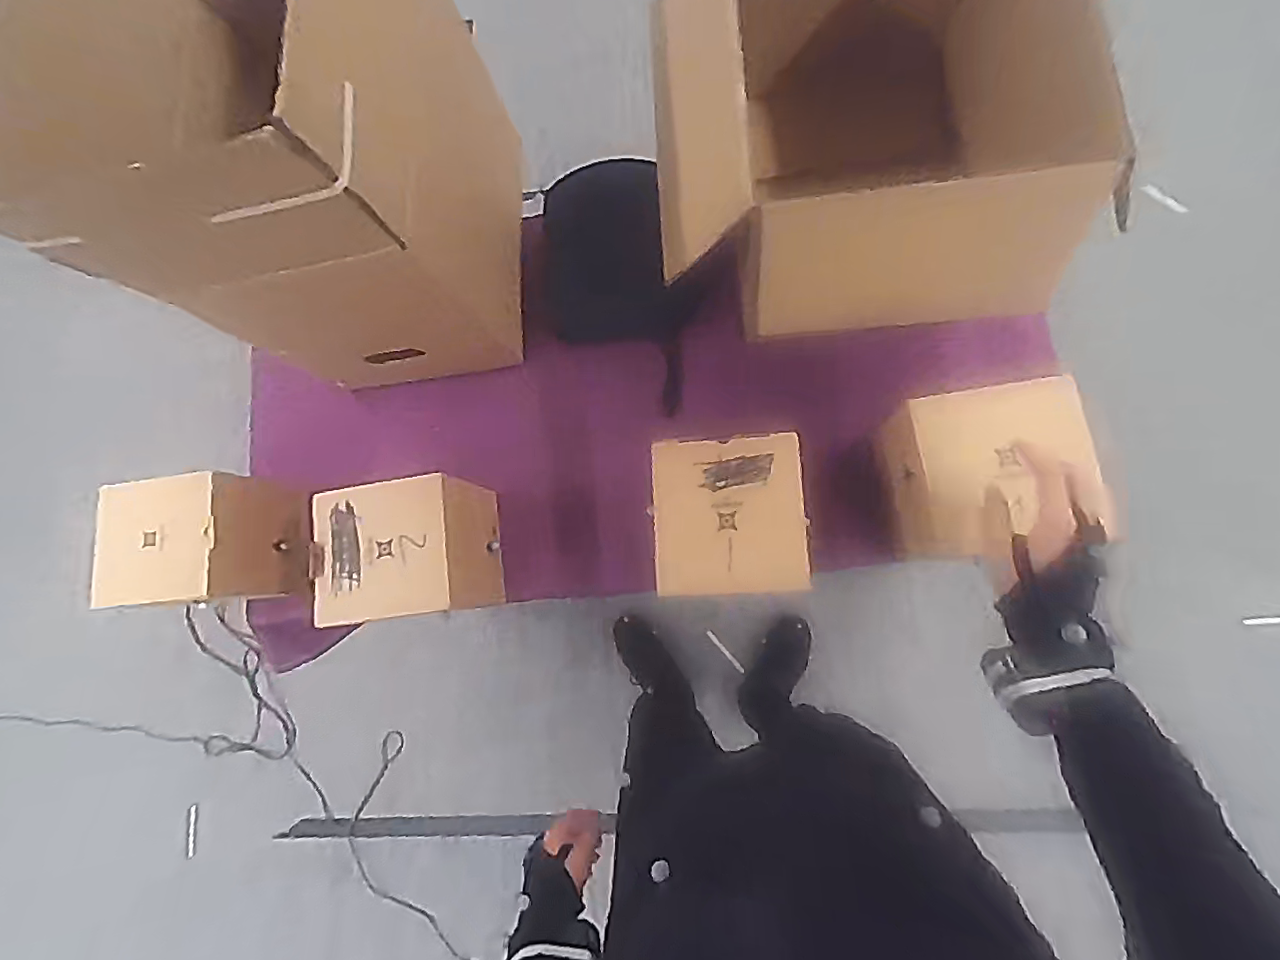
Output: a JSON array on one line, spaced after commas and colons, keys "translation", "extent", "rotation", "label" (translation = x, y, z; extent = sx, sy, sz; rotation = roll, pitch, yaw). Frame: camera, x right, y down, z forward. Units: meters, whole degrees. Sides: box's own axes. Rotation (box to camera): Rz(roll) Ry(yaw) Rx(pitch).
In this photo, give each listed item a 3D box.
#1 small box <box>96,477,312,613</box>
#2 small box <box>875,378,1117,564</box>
[{"translation": [-0.616, 0.100, 0.783], "extent": [0.179, 0.176, 0.168], "rotation": [-8, 79, 7], "label": "small box"}, {"translation": [0.392, 0.002, 0.634], "extent": [0.168, 0.176, 0.179], "rotation": [-8, 79, 9], "label": "small box"}]
